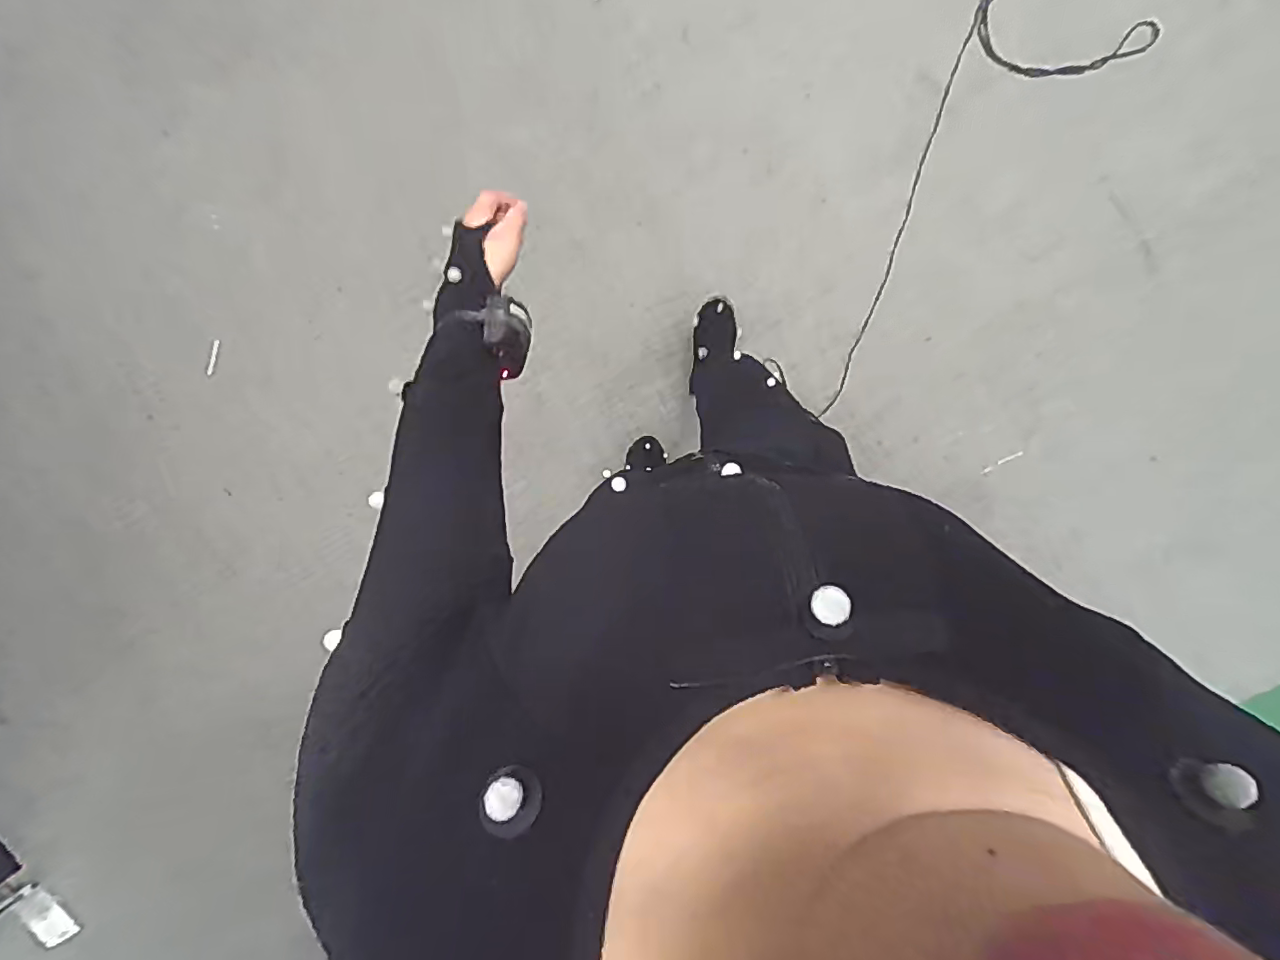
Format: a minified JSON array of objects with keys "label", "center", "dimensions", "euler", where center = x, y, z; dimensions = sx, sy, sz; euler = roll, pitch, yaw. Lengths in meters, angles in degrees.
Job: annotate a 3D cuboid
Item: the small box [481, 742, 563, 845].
[{"label":"small box","center":[-0.326,0.883,1.541],"dimensions":[0.179,0.176,0.168],"euler":[-18,98,3]}]
